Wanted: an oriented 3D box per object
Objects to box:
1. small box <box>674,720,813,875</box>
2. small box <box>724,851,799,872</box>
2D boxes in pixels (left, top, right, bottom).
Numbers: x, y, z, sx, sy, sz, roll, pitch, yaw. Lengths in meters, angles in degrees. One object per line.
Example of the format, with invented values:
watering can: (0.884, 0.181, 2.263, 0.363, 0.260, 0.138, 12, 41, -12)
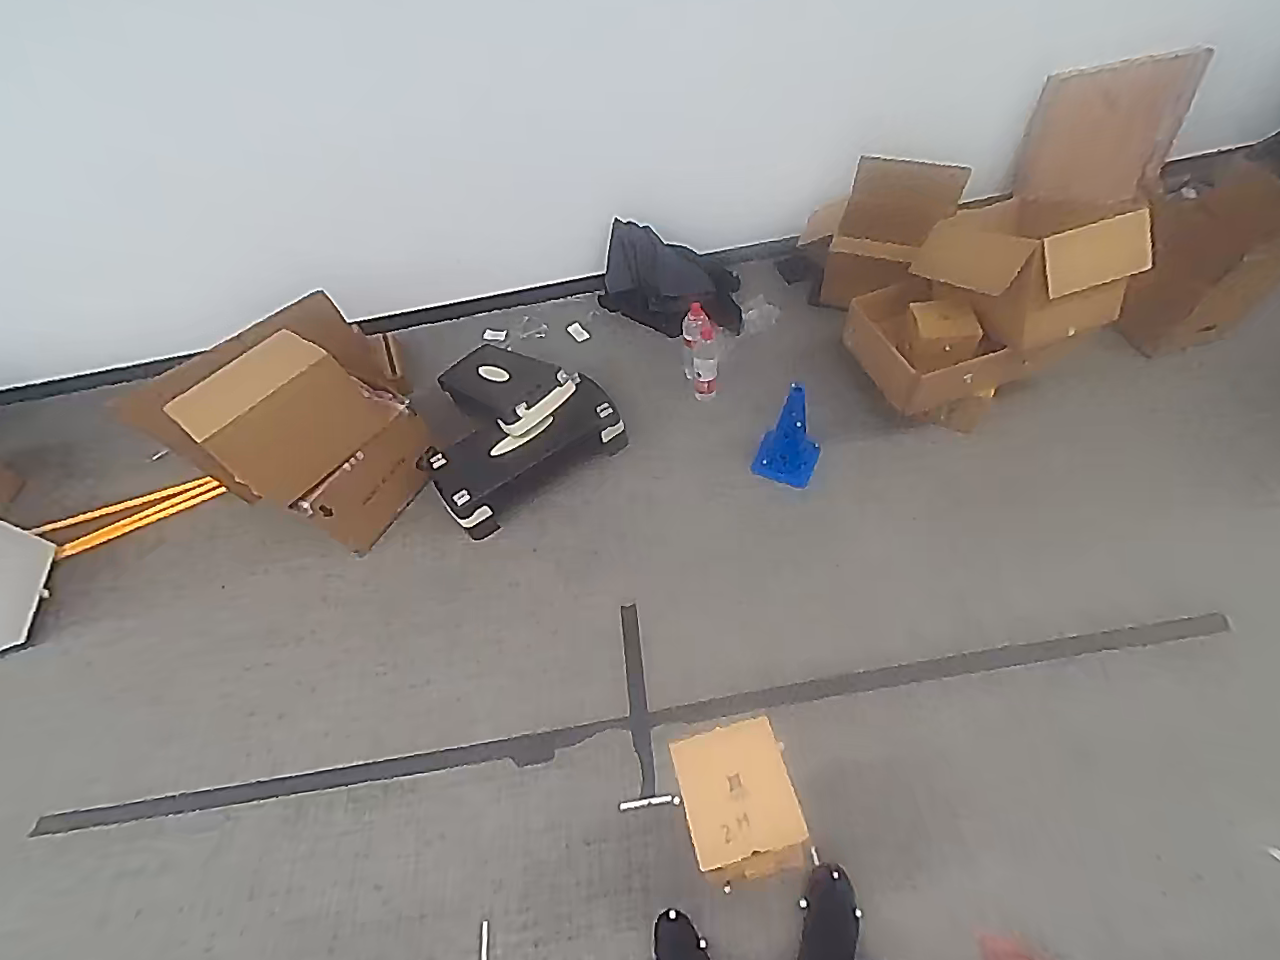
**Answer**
small box: (0.159, 0.516, 0.879, 0.168, 0.176, 0.179, -16, 56, -1)
small box: (0.226, 0.712, 1.137, 0.168, 0.176, 0.179, -7, 57, 4)
